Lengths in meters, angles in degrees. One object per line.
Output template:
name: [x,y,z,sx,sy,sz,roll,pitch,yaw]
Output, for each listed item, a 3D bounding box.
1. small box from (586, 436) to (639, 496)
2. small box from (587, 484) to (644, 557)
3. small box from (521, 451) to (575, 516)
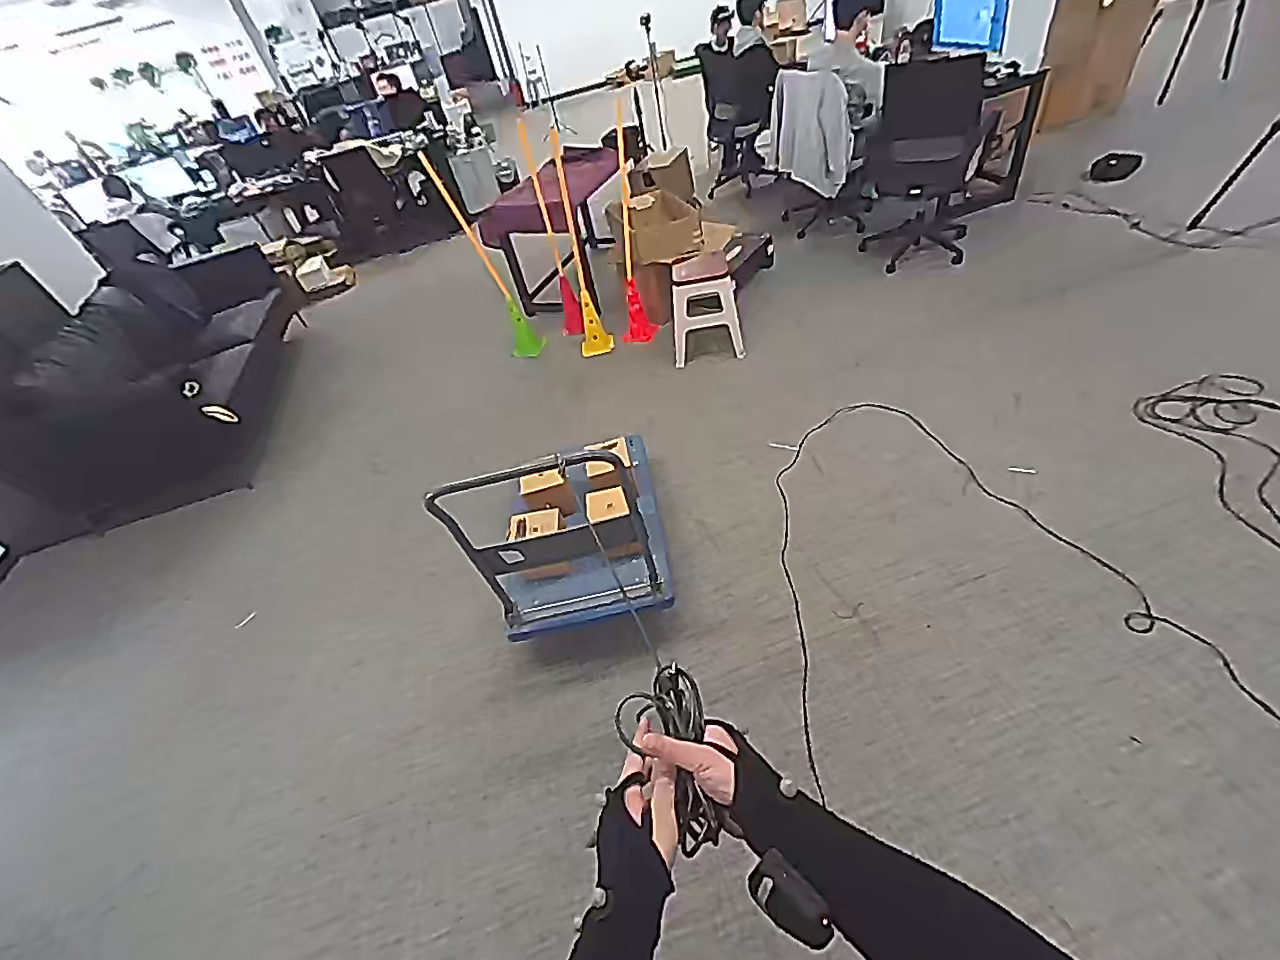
small box: [-0.106,-0.040,2.084,0.168,0.176,0.179,-14,44,2]
small box: [-0.086,0.143,1.898,0.168,0.176,0.179,-12,45,4]
small box: [-0.356,0.022,2.092,0.168,0.176,0.179,-15,44,0]
